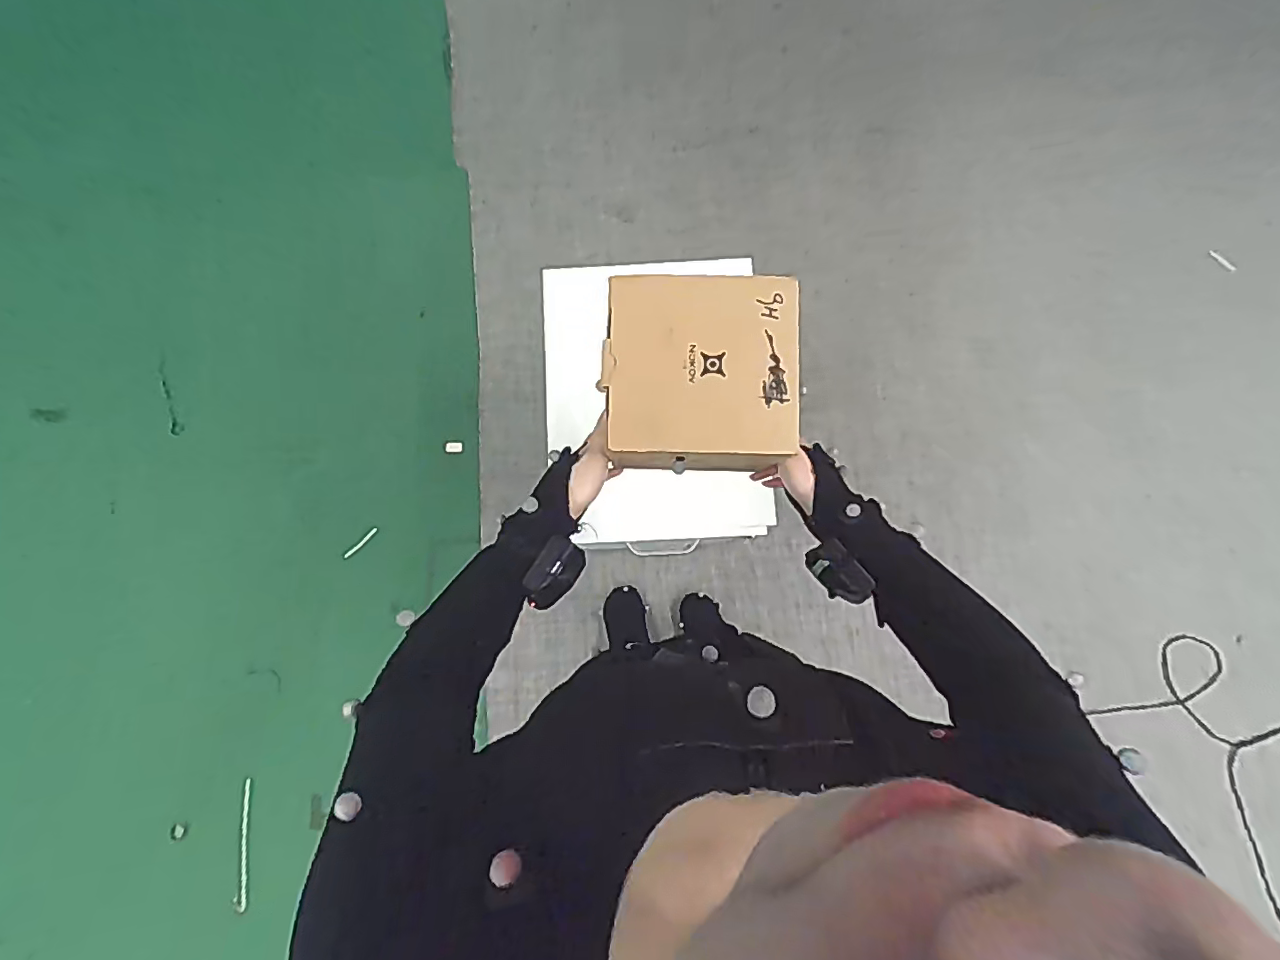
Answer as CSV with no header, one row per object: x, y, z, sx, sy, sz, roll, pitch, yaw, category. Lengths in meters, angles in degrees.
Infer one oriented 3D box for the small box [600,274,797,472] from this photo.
0.055,-0.098,0.566,0.179,0.176,0.168,1,86,0,small box
